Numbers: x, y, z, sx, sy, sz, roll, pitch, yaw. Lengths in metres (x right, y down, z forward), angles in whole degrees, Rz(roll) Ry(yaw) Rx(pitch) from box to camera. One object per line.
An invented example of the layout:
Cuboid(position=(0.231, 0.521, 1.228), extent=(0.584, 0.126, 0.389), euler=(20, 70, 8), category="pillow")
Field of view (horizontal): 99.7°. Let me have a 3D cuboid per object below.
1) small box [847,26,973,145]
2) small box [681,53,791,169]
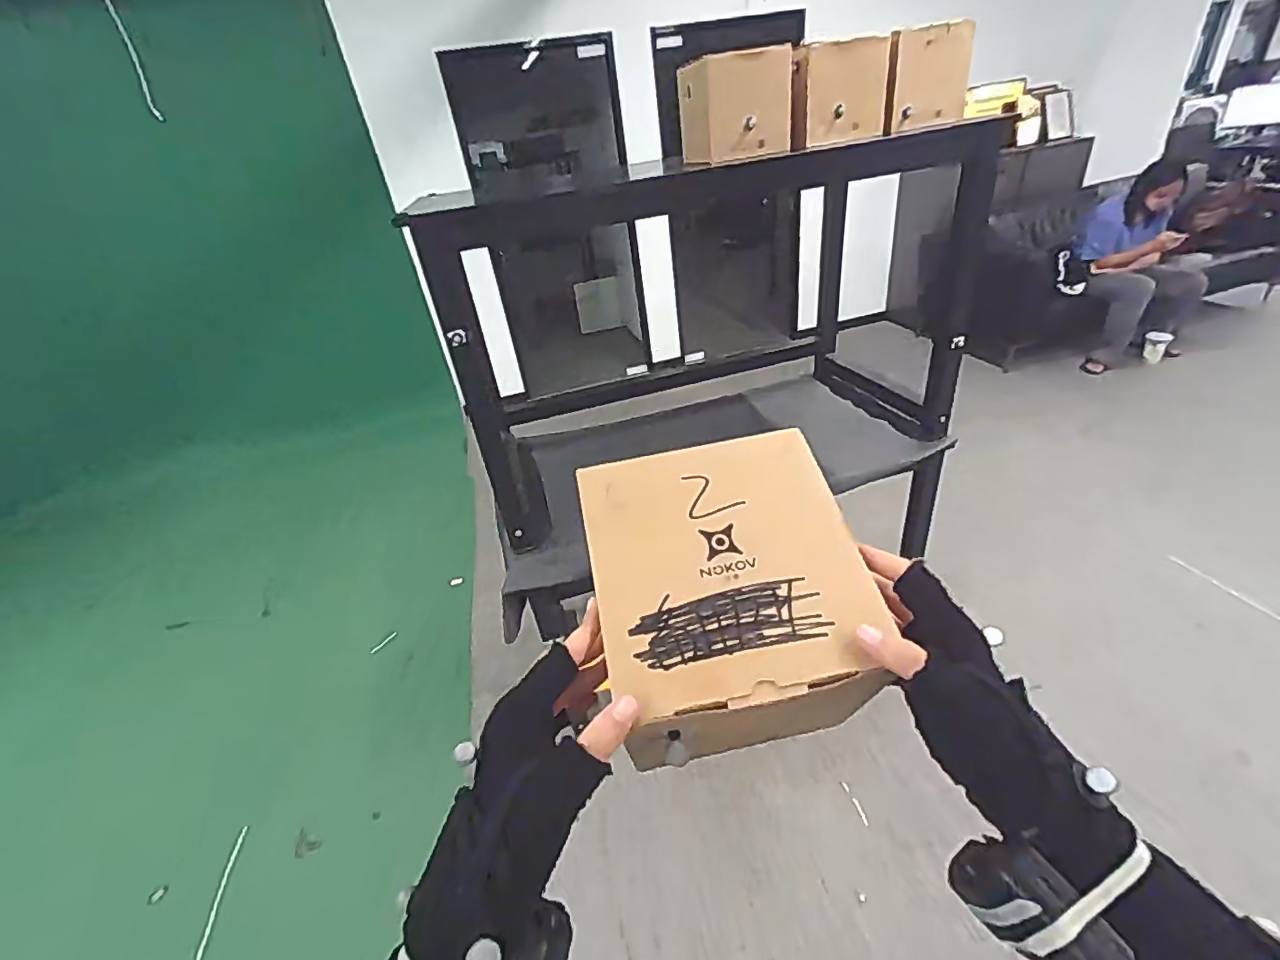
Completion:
Cuboid(position=(0.554, -0.818, 1.135), extent=(0.168, 0.176, 0.179), euler=(-13, 31, -6), category="small box")
Cuboid(position=(0.187, -0.727, 1.081), extent=(0.168, 0.176, 0.179), euler=(-13, 32, -7), category="small box")
